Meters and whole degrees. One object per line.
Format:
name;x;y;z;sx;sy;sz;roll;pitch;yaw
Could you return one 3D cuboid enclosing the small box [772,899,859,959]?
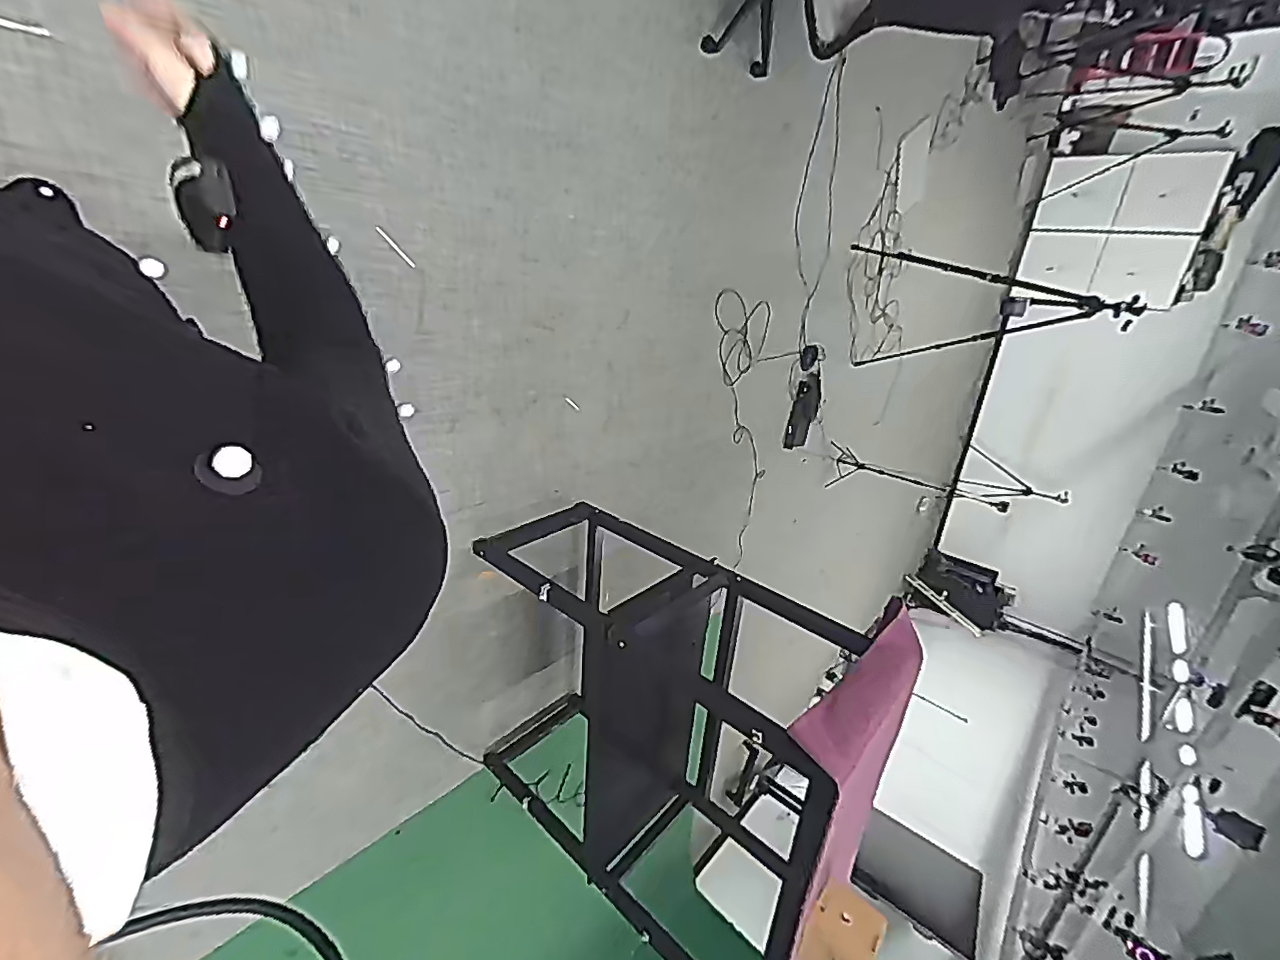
small box;0.468;1.298;1.468;0.168;0.176;0.179;-16;120;-48
